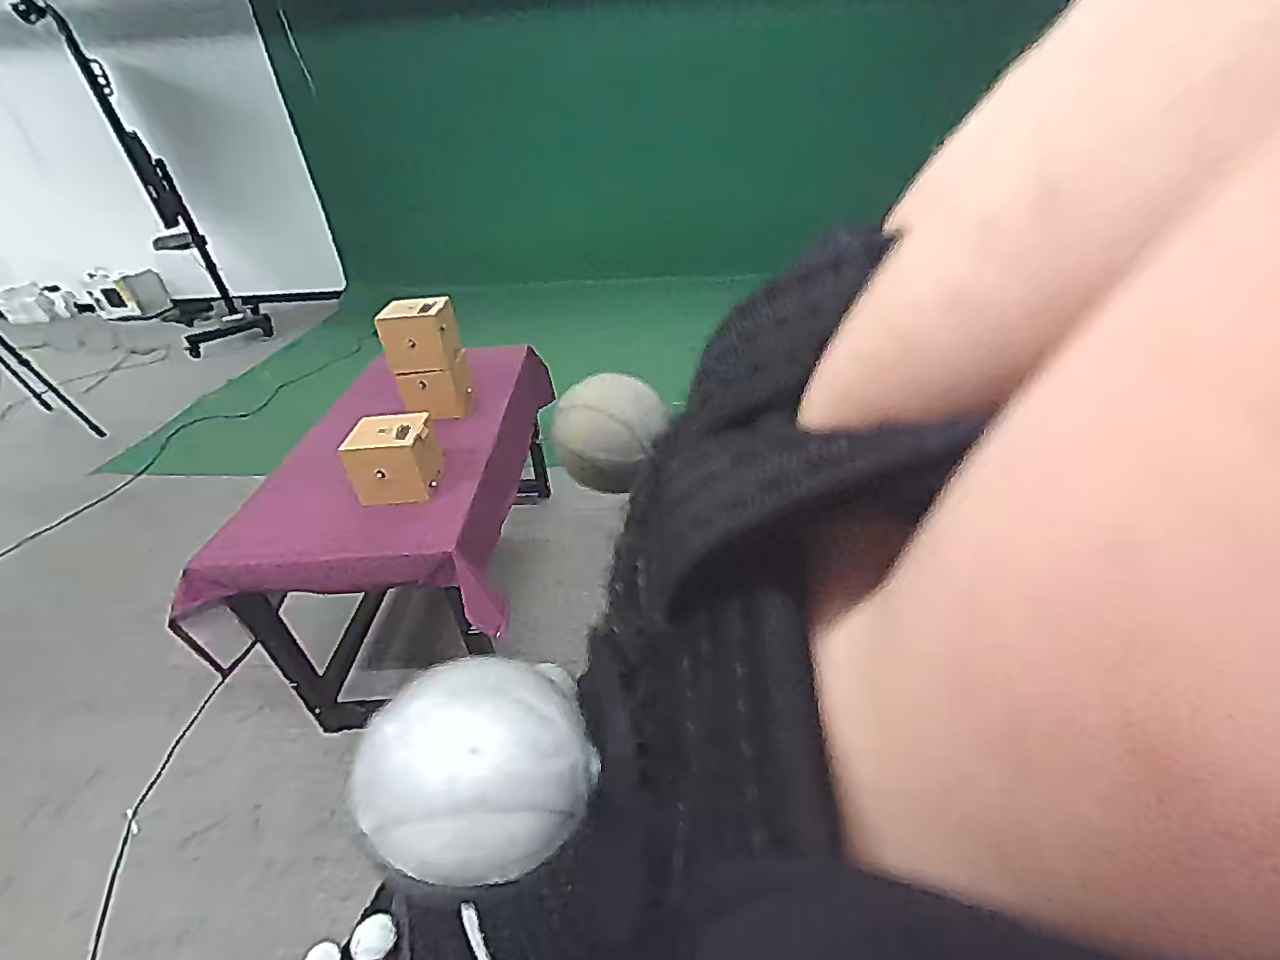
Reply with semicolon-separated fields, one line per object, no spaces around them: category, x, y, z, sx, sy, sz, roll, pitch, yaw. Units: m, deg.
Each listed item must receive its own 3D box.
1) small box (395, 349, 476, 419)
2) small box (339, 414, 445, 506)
small box;-0.645;-0.303;1.726;0.179;0.176;0.168;-3;36;3
small box;-0.617;-0.050;1.375;0.179;0.176;0.168;-6;35;1
